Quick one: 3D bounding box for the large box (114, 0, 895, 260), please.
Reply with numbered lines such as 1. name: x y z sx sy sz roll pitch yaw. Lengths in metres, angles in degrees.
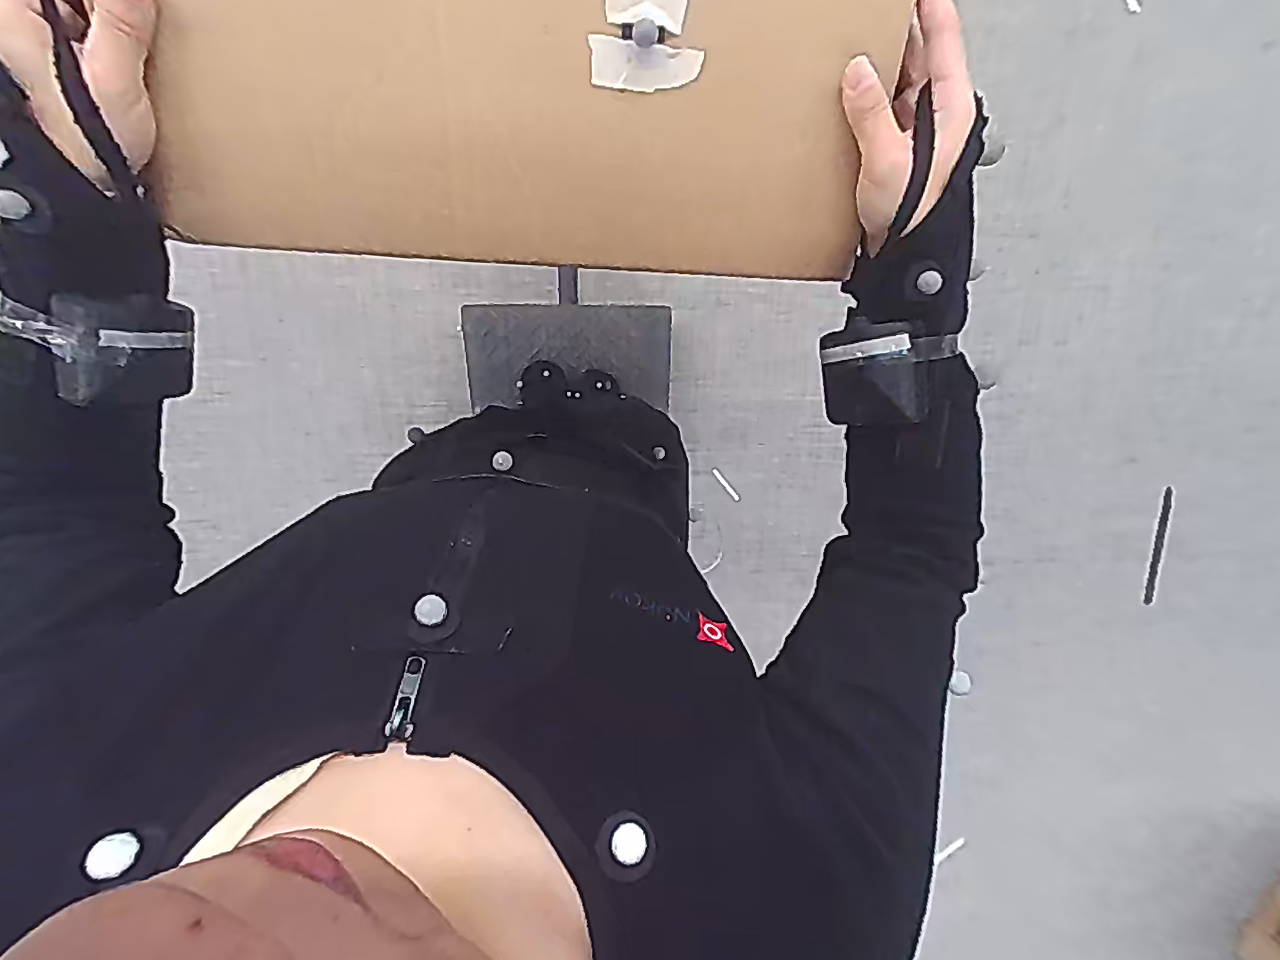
1. large box: -0.071 -0.346 0.393 0.408 0.320 0.320 1 118 -5
